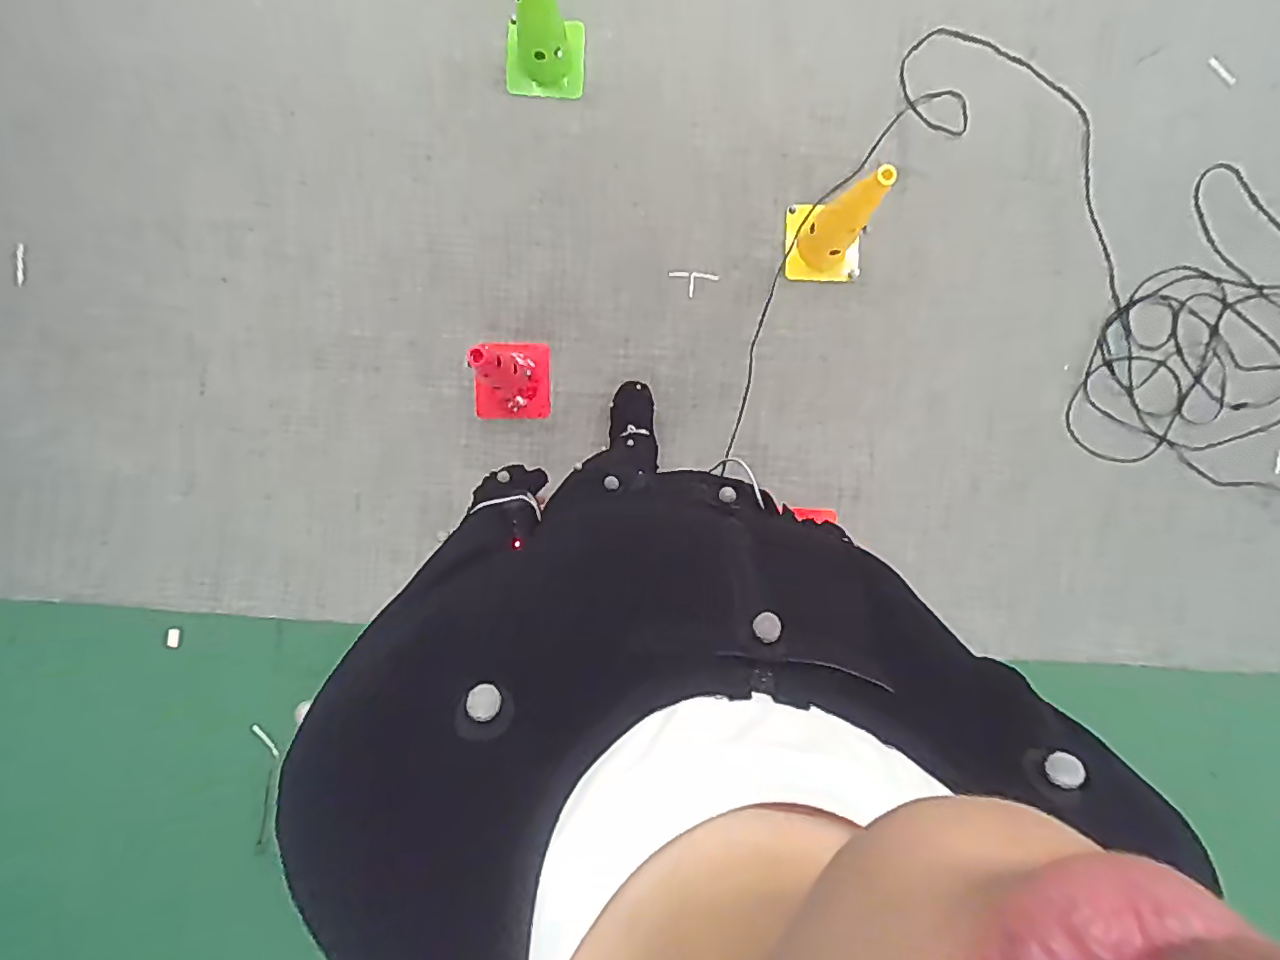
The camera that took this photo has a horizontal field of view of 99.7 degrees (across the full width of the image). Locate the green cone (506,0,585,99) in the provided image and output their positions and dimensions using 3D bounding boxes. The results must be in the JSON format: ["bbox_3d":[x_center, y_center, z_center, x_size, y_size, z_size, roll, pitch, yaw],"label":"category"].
[{"bbox_3d":[-0.237,-1.096,1.244,0.202,0.368,0.200,2,93,-3],"label":"green cone"}]

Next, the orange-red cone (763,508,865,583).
[{"bbox_3d":[0.447,0.185,1.312,0.198,0.360,0.199,5,91,-3],"label":"orange-red cone"}]

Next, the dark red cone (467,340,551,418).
[{"bbox_3d":[-0.328,-0.254,1.248,0.202,0.394,0.201,-2,94,-2],"label":"dark red cone"}]
